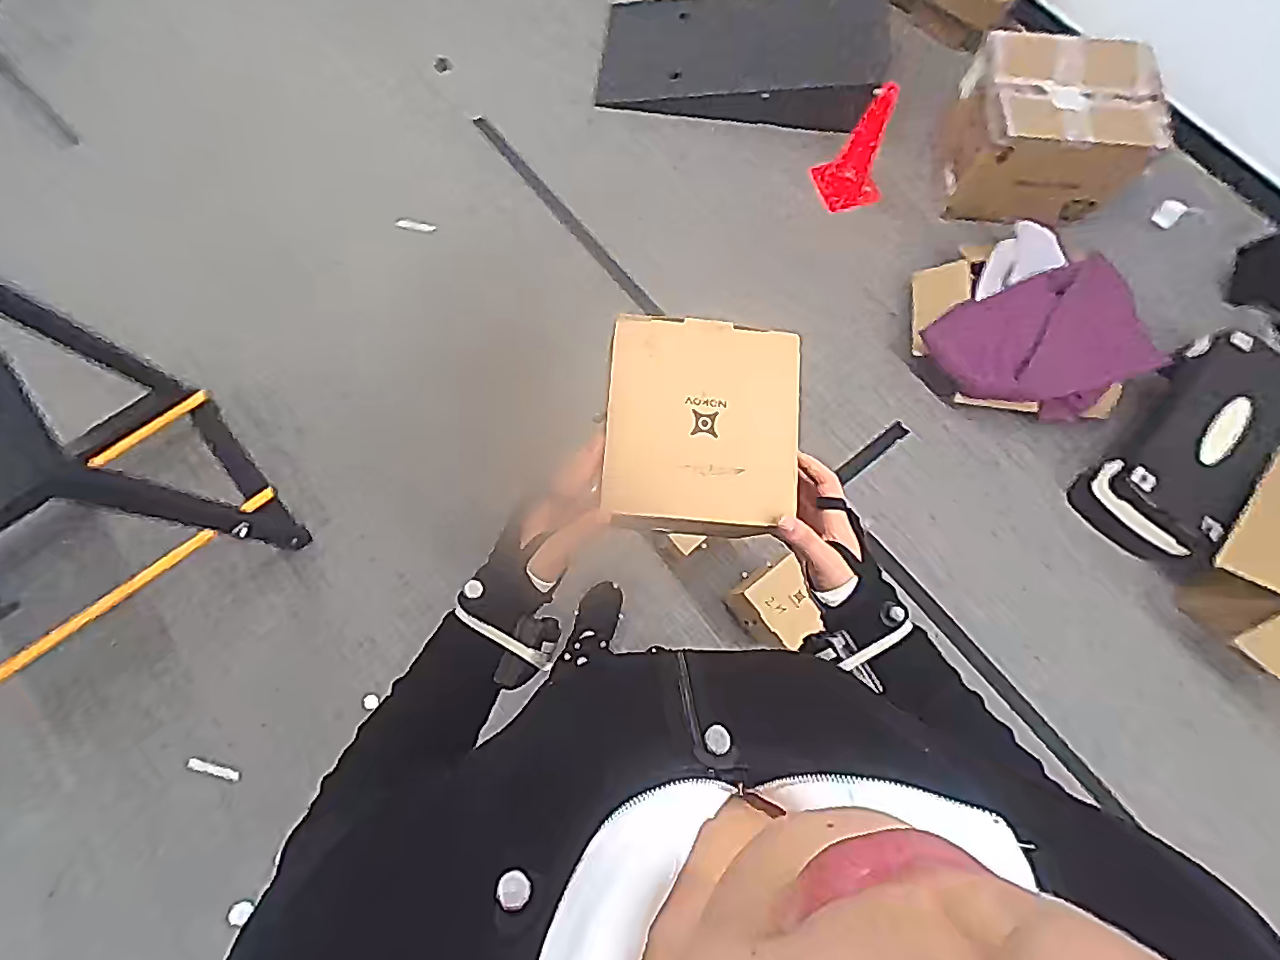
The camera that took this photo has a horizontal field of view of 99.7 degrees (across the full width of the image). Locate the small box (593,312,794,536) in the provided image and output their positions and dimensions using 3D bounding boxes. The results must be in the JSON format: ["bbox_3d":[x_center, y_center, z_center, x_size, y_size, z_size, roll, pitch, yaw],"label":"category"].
[{"bbox_3d":[0.042,-0.041,0.534,0.168,0.176,0.179,4,81,-5],"label":"small box"}]

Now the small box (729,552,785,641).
[{"bbox_3d":[0.353,0.315,1.435,0.179,0.176,0.168,-38,79,-9],"label":"small box"}]

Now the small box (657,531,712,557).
[{"bbox_3d":[0.126,0.095,1.486,0.168,0.176,0.179,-40,80,-10],"label":"small box"}]

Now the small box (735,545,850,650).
[{"bbox_3d":[0.348,0.276,1.273,0.179,0.176,0.168,-36,79,-9],"label":"small box"}]
